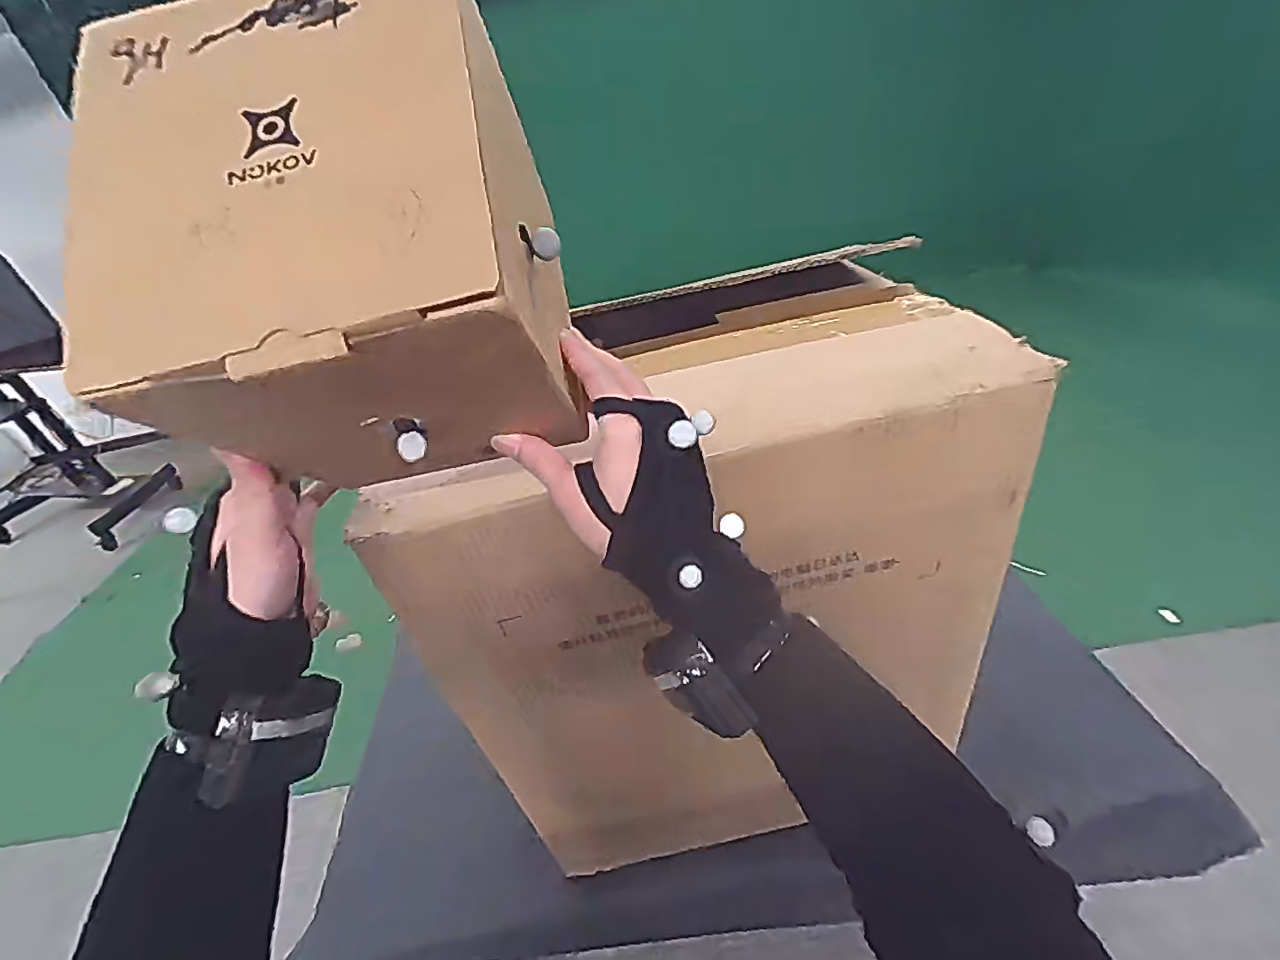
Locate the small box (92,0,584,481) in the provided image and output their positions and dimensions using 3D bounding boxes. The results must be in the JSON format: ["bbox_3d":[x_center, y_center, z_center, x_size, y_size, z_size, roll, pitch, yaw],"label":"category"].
[{"bbox_3d":[-0.135,-0.104,0.297,0.168,0.176,0.179,-12,77,2],"label":"small box"}]
